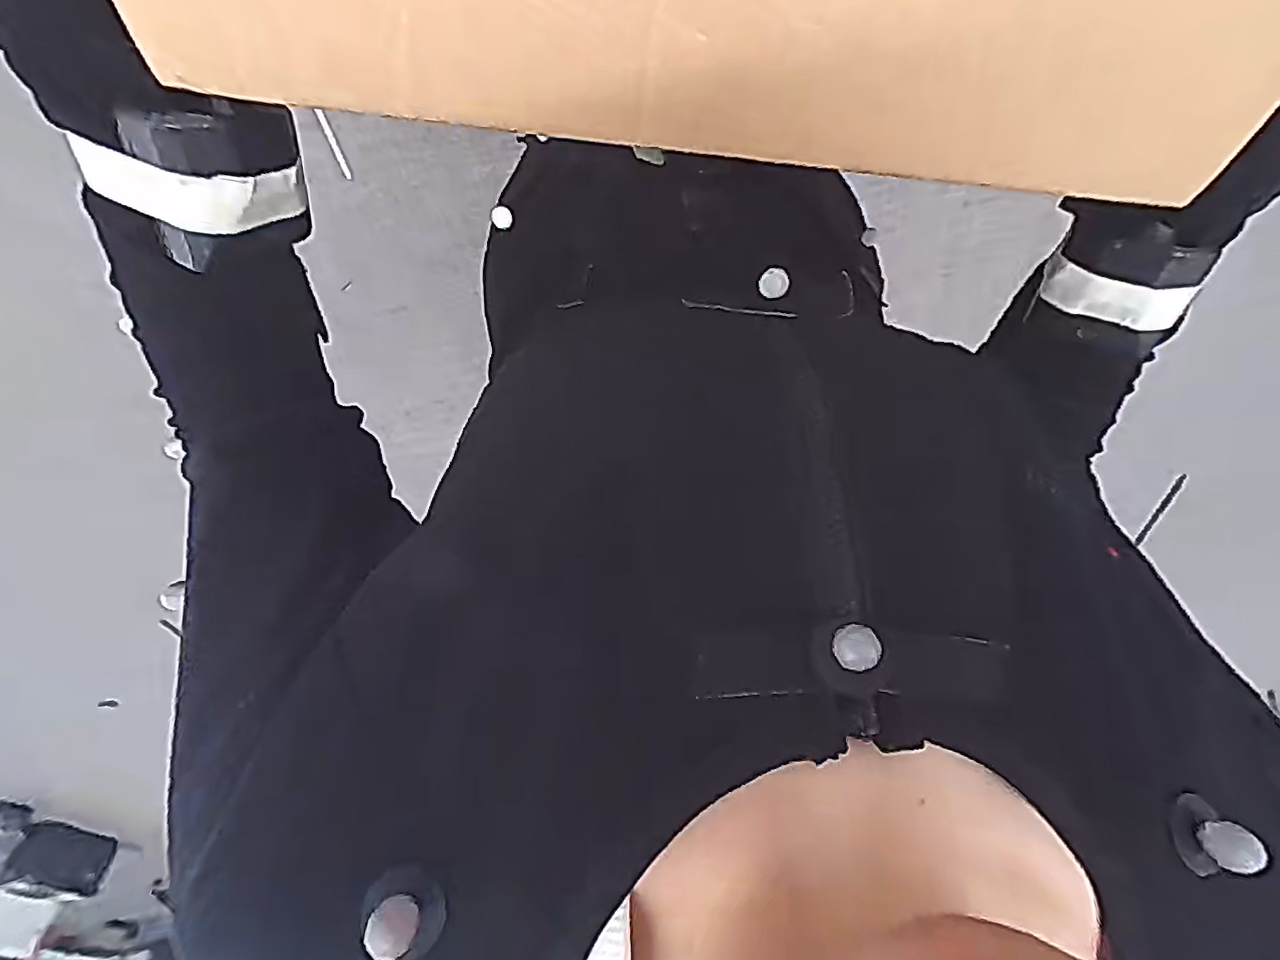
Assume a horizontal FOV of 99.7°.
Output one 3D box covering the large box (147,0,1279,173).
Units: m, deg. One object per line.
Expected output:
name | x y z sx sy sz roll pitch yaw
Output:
large box | 0.040 -0.350 0.189 0.408 0.320 0.320 1 141 -7
